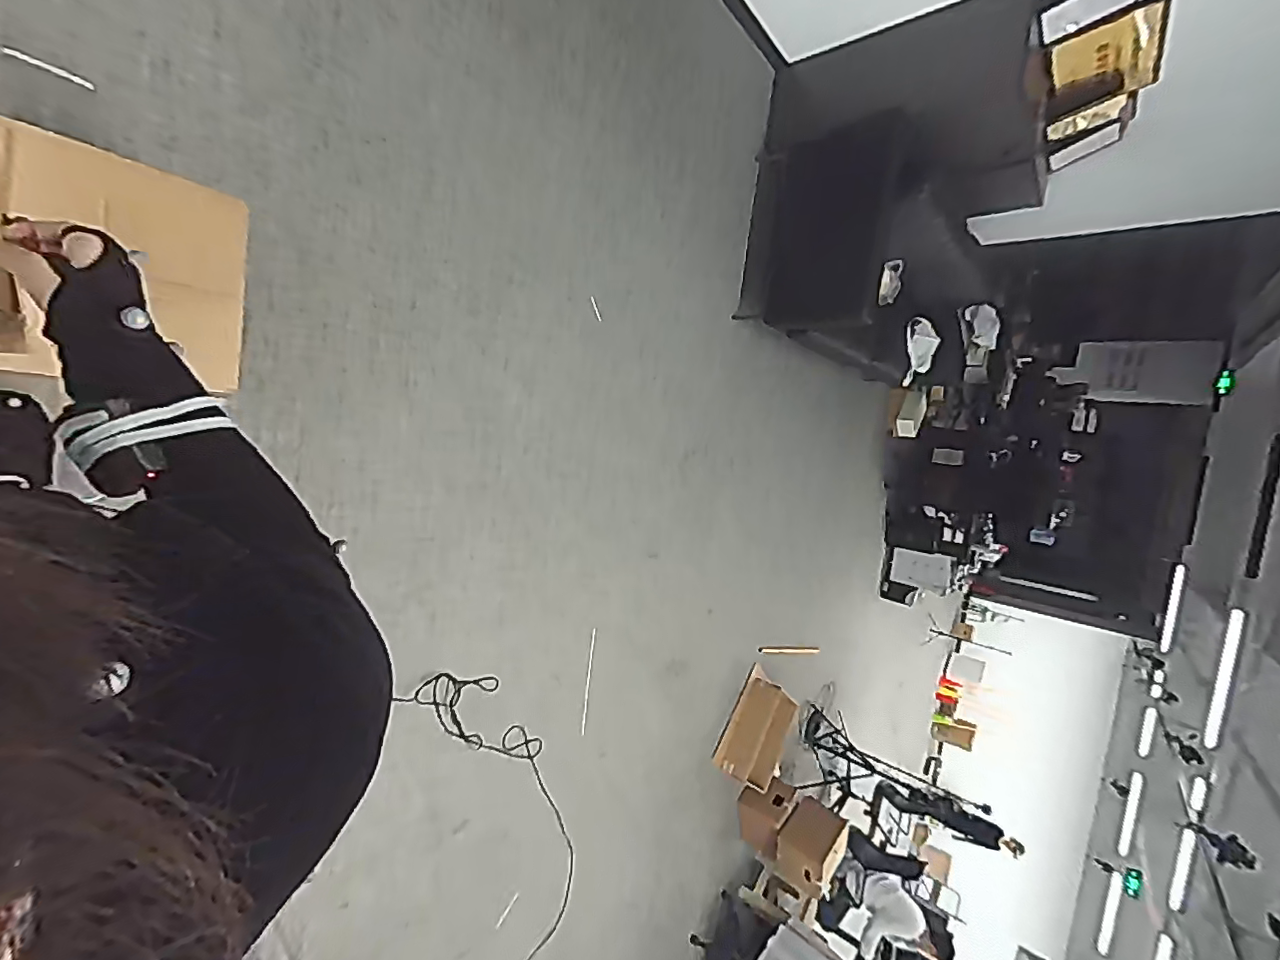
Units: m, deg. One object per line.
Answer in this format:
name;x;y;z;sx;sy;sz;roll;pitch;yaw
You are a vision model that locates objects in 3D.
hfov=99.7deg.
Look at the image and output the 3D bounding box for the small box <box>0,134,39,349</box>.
small box;-0.587;-0.202;0.402;0.168;0.176;0.179;-11;99;-44
